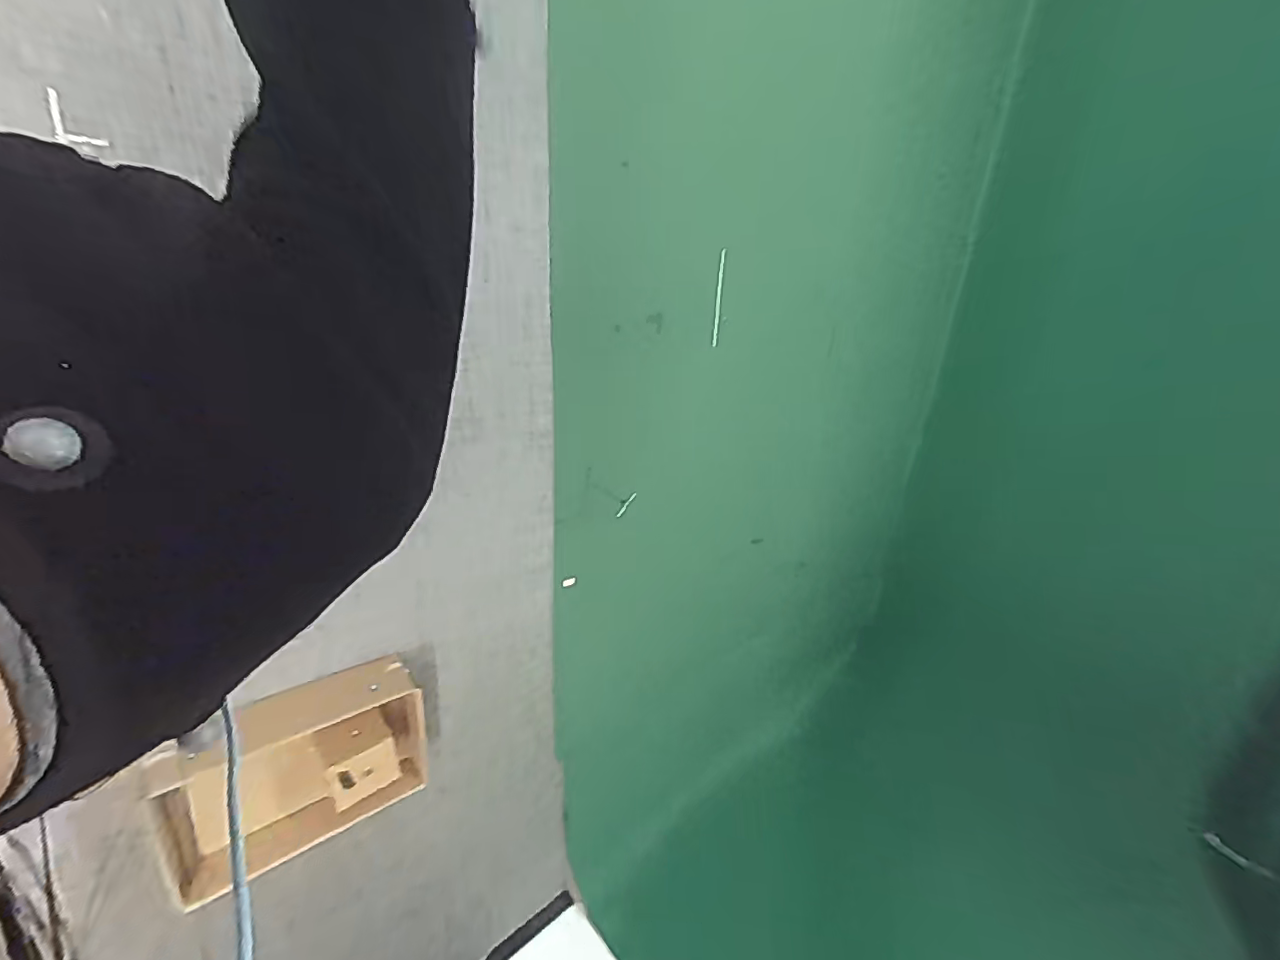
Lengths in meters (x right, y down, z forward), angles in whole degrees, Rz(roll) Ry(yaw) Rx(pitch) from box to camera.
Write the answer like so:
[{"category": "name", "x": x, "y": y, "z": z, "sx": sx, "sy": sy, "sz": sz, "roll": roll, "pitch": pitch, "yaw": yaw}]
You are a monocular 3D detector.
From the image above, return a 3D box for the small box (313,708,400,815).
[{"category": "small box", "x": -0.824, "y": 0.806, "z": 1.566, "sx": 0.179, "sy": 0.176, "sz": 0.168, "roll": -20, "pitch": 120, "yaw": -40}]
